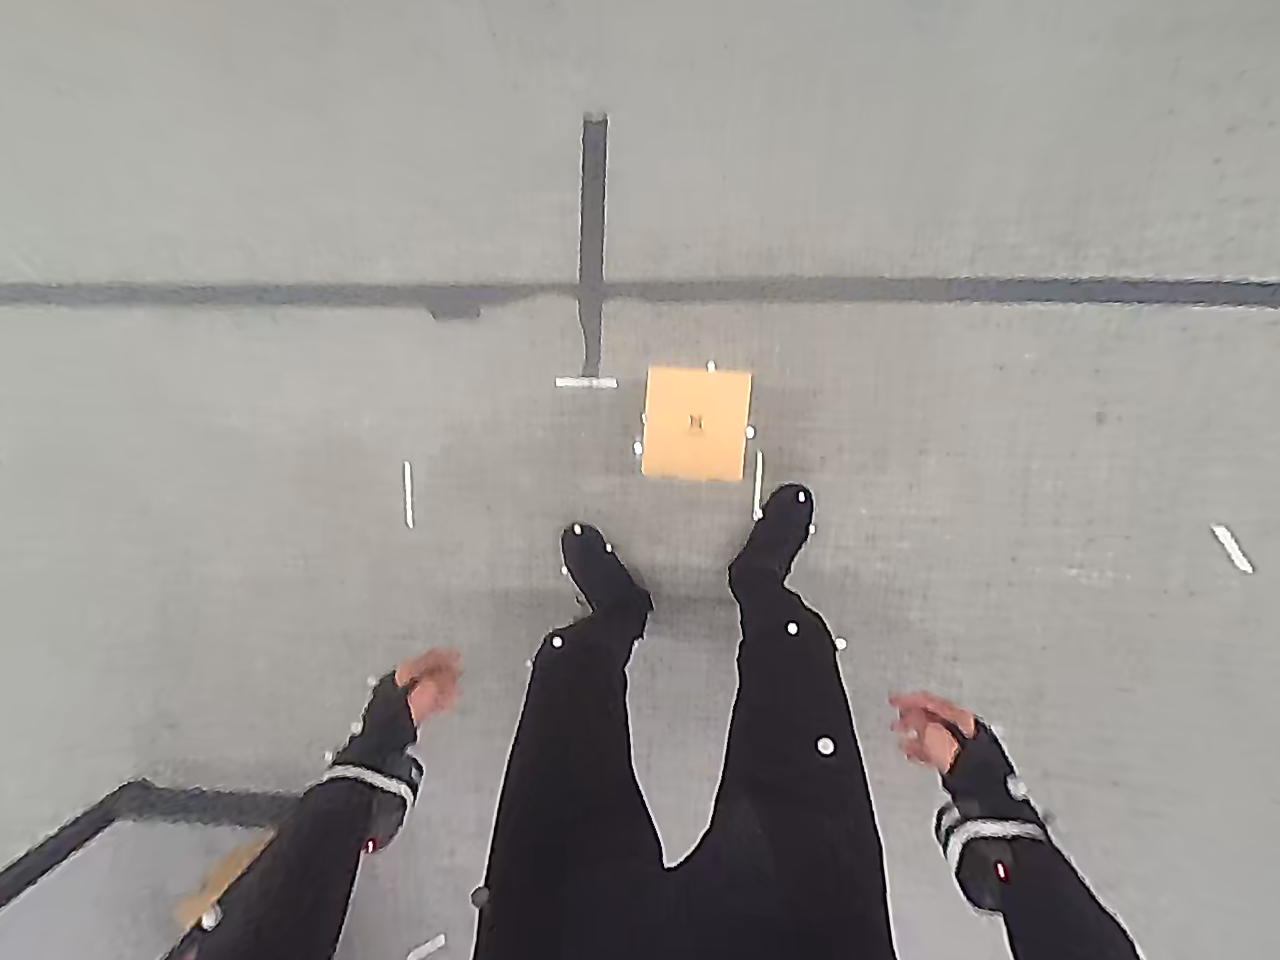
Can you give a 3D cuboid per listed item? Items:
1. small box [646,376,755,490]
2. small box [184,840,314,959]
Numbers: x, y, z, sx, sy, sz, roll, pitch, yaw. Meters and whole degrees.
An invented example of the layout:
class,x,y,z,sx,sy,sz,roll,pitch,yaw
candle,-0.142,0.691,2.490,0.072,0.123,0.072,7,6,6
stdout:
class,x,y,z,sx,sy,sz,roll,pitch,yaw
small box,0.100,-0.087,0.947,0.168,0.176,0.179,4,100,3
small box,-0.992,1.077,1.387,0.179,0.176,0.168,-27,97,9
